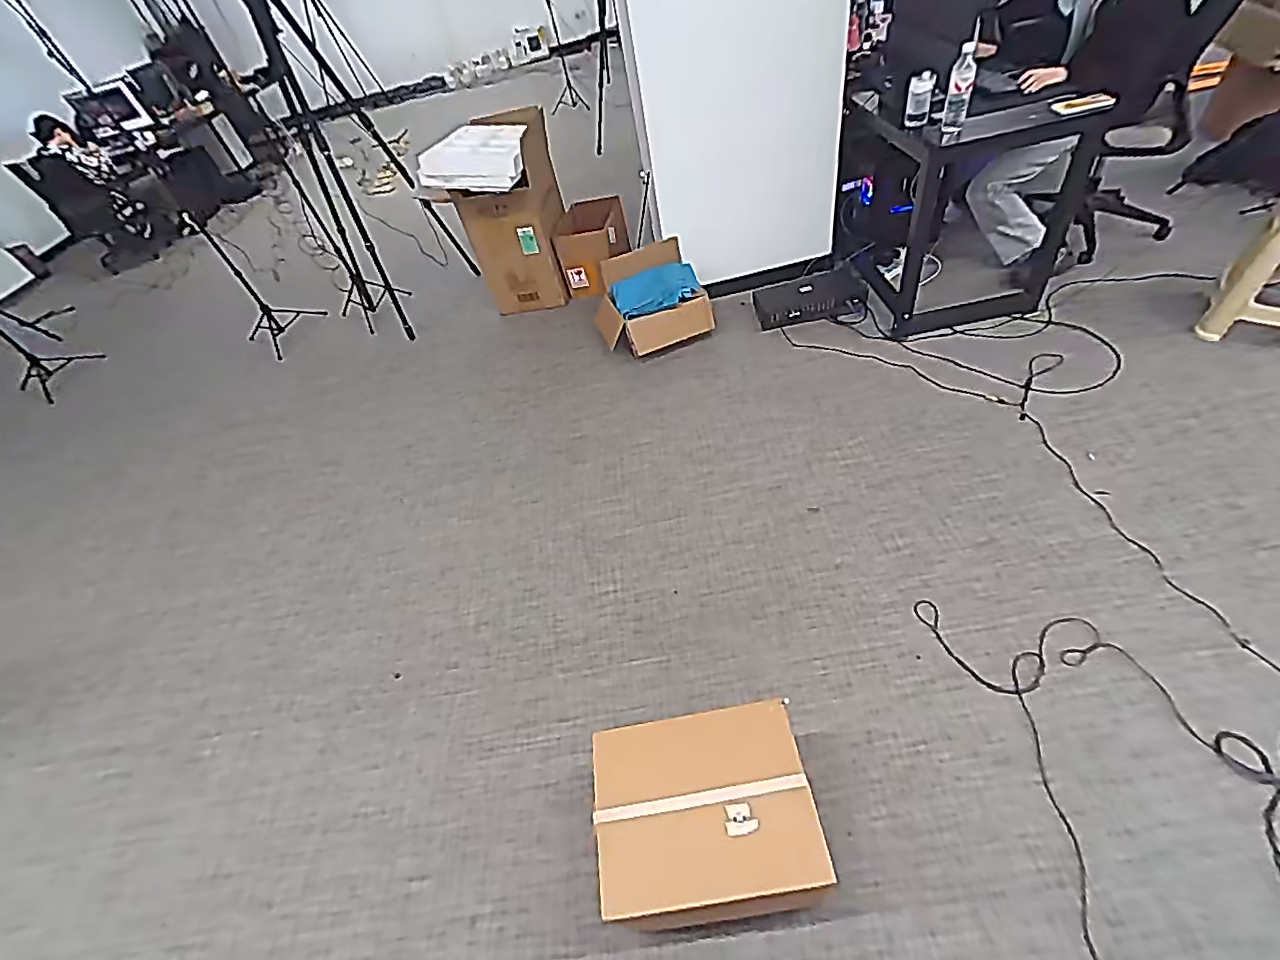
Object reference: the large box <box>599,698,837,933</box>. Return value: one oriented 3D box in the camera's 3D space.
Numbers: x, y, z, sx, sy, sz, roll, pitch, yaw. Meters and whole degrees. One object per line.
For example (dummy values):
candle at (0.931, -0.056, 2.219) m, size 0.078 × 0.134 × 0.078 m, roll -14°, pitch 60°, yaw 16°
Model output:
large box at (0.149, 0.700, 1.125) m, size 0.408 × 0.320 × 0.320 m, roll -12°, pitch 46°, yaw 3°
